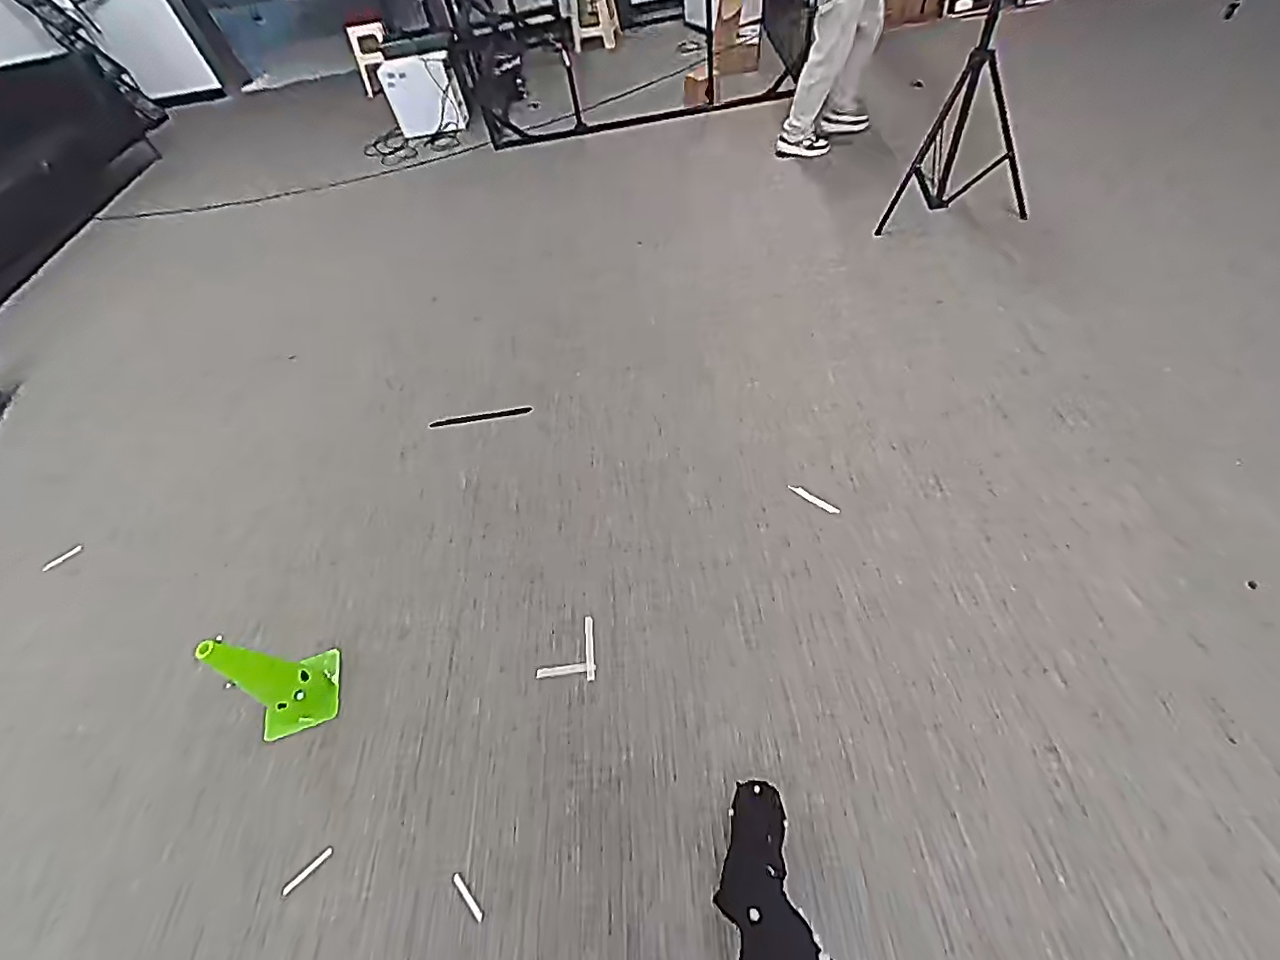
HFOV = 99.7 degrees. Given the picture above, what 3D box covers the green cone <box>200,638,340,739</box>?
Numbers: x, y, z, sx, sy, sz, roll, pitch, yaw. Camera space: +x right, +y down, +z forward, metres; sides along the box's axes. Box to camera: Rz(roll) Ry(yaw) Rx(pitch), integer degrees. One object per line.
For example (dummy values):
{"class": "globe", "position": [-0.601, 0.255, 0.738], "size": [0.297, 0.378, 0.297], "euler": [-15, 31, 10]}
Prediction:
{"class": "green cone", "position": [-0.949, 0.484, 1.350], "size": [0.202, 0.368, 0.200], "euler": [-19, 53, -5]}
